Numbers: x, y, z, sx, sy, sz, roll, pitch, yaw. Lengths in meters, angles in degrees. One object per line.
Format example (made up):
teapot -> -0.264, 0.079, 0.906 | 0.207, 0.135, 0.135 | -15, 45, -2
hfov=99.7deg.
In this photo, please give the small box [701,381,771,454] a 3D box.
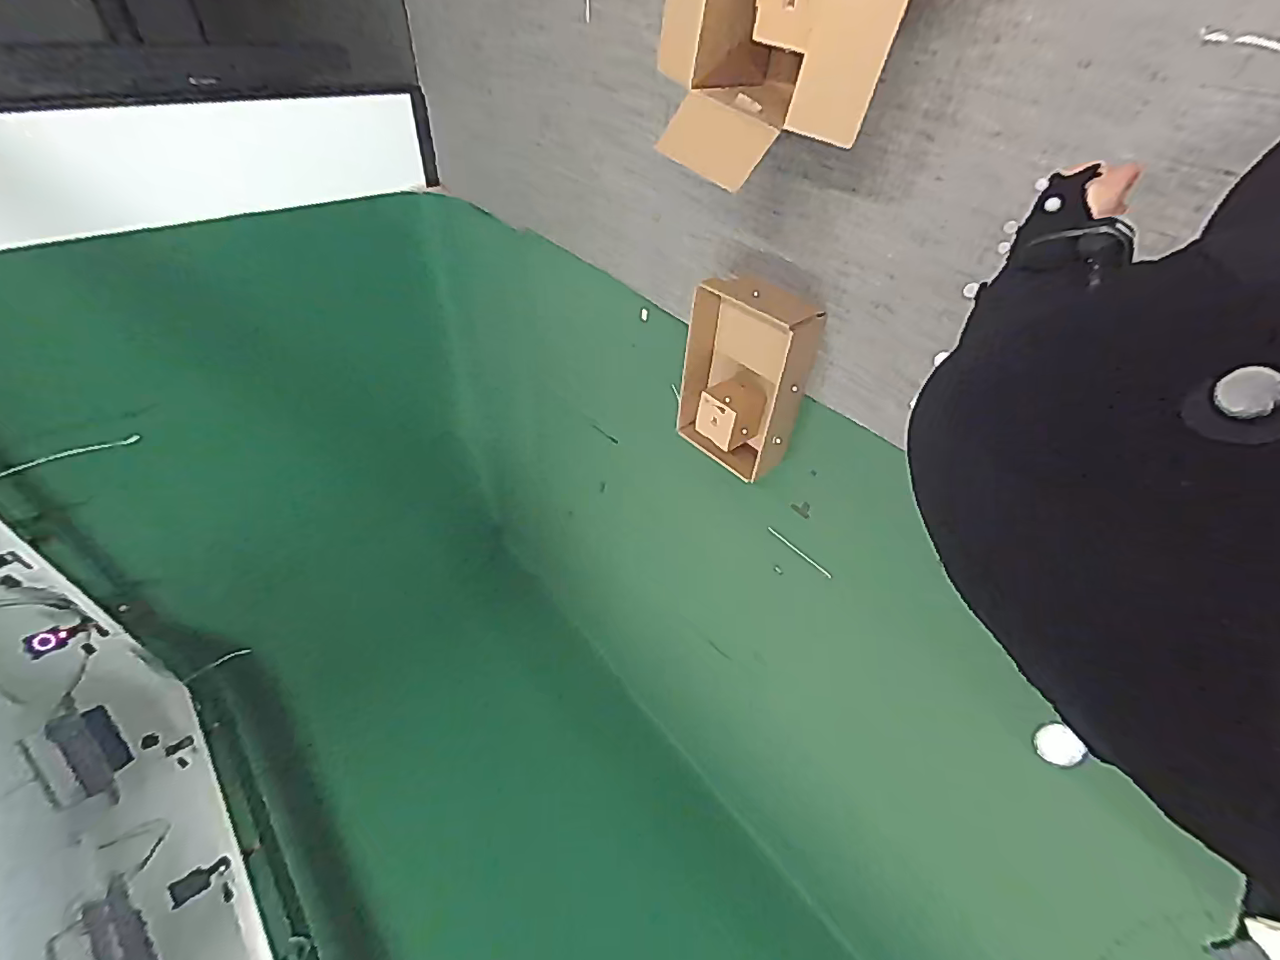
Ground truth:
small box -> 0.347, -0.228, 1.950 | 0.168, 0.176, 0.179 | 42, 143, 32
